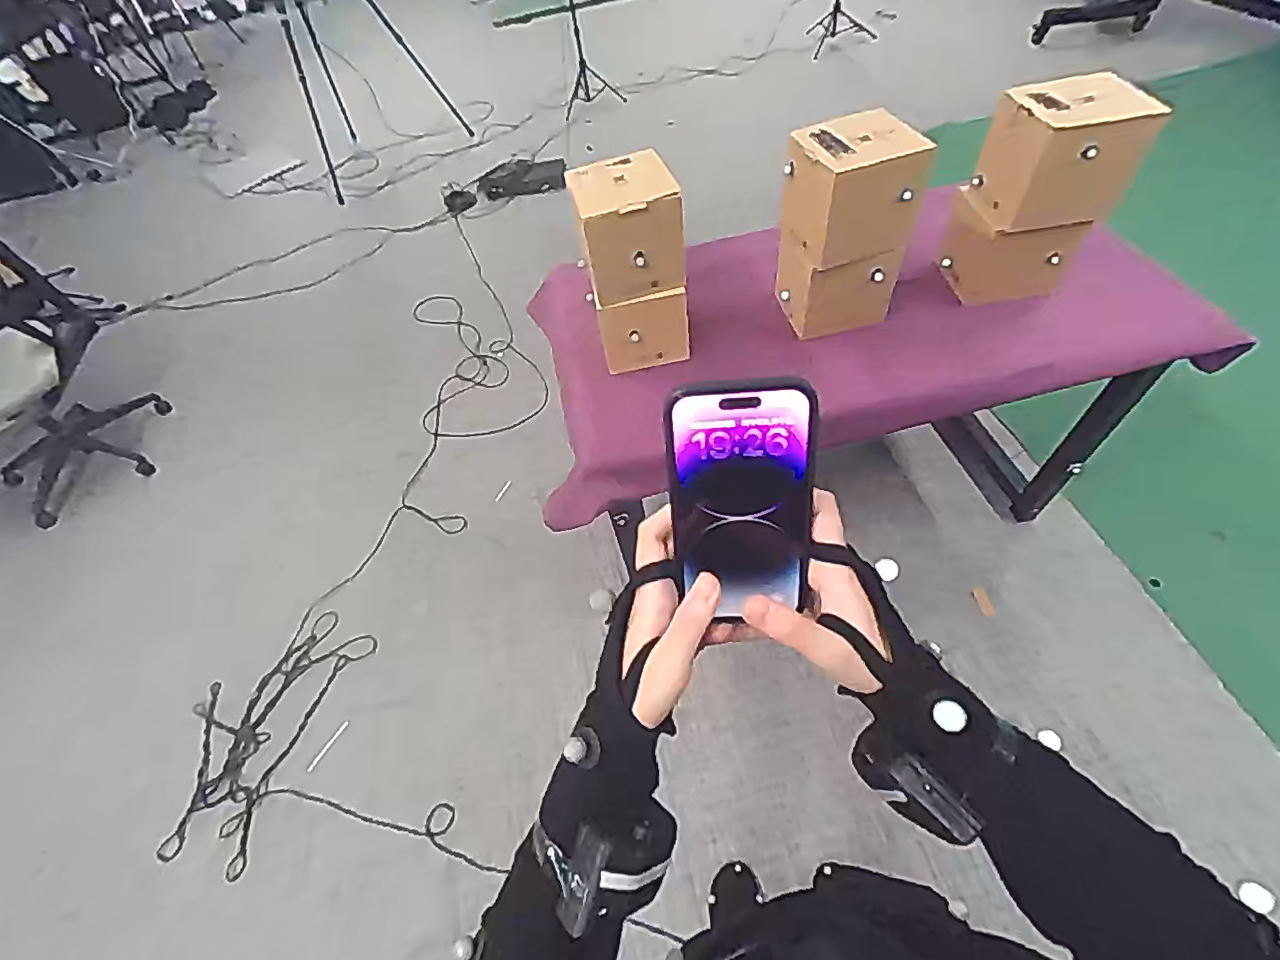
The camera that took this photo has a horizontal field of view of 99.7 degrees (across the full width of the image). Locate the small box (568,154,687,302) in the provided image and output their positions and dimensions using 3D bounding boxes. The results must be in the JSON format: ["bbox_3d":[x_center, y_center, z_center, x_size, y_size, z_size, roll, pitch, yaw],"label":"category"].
[{"bbox_3d":[-0.019,-0.440,0.964,0.168,0.176,0.179,-16,54,-3],"label":"small box"}]

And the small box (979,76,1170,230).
[{"bbox_3d":[0.714,-0.550,0.923,0.179,0.176,0.168,-7,53,4],"label":"small box"}]

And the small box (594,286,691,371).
[{"bbox_3d":[0.005,-0.338,1.091,0.168,0.176,0.179,-12,53,1],"label":"small box"}]

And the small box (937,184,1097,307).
[{"bbox_3d":[0.724,-0.465,1.063,0.179,0.176,0.168,-7,53,5],"label":"small box"}]

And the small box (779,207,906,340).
[{"bbox_3d":[0.389,-0.405,1.074,0.179,0.176,0.168,-12,53,1],"label":"small box"}]
